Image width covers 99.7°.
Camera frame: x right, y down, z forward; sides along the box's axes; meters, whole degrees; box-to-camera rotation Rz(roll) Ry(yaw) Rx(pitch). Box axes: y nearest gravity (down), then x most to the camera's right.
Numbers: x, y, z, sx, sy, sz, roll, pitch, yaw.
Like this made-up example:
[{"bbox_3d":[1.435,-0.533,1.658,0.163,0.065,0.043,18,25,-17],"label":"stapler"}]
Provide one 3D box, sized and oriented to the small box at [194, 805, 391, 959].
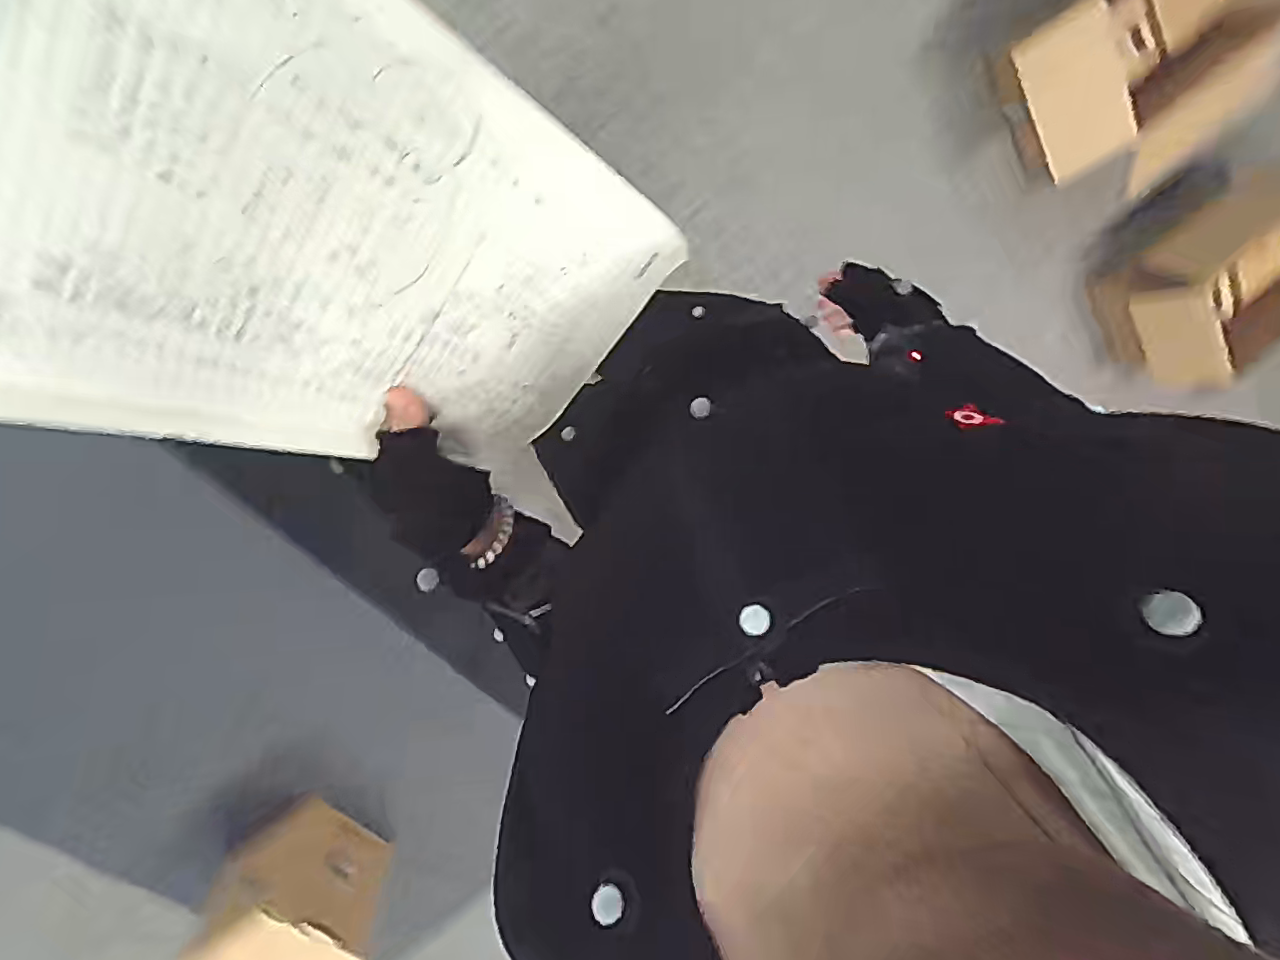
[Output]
[{"bbox_3d":[-0.490,0.621,0.783,0.179,0.176,0.168,-39,110,4],"label":"small box"}]
